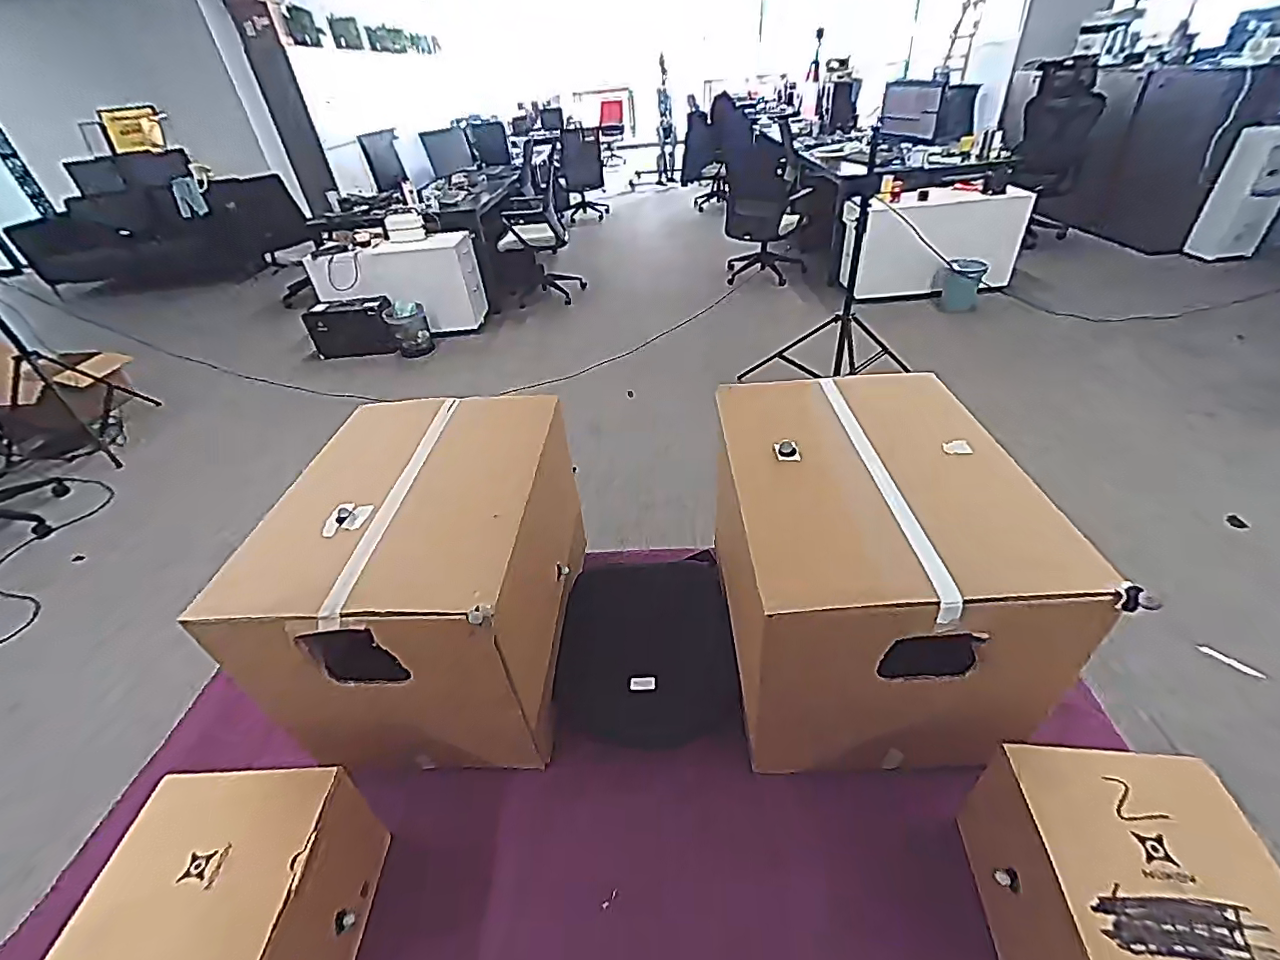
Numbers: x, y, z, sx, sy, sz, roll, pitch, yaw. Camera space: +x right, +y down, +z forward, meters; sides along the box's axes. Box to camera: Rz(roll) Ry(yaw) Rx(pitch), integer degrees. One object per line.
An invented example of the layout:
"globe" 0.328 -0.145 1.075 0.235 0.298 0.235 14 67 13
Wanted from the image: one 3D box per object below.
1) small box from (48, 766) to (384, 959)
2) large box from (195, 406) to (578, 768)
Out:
"small box" -0.385 0.407 0.528 0.179 0.176 0.168 -3 36 -2
"large box" -0.273 0.135 0.763 0.320 0.320 0.408 -3 40 4
